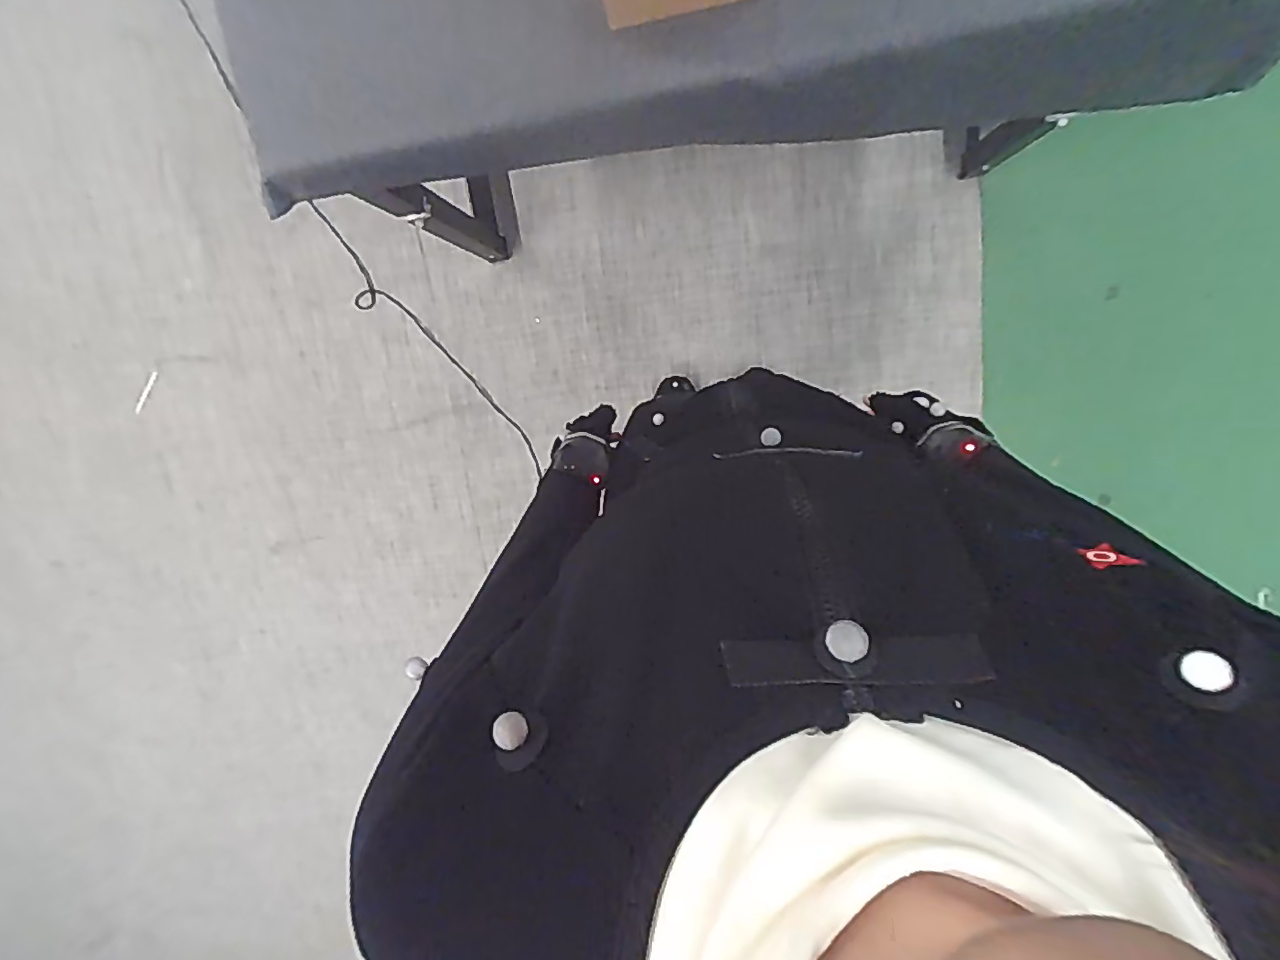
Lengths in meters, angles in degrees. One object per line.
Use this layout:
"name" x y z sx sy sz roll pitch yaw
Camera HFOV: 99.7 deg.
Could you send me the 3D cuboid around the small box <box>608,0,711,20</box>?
"small box" 0.034 -0.578 0.495 0.179 0.176 0.168 -7 101 9
